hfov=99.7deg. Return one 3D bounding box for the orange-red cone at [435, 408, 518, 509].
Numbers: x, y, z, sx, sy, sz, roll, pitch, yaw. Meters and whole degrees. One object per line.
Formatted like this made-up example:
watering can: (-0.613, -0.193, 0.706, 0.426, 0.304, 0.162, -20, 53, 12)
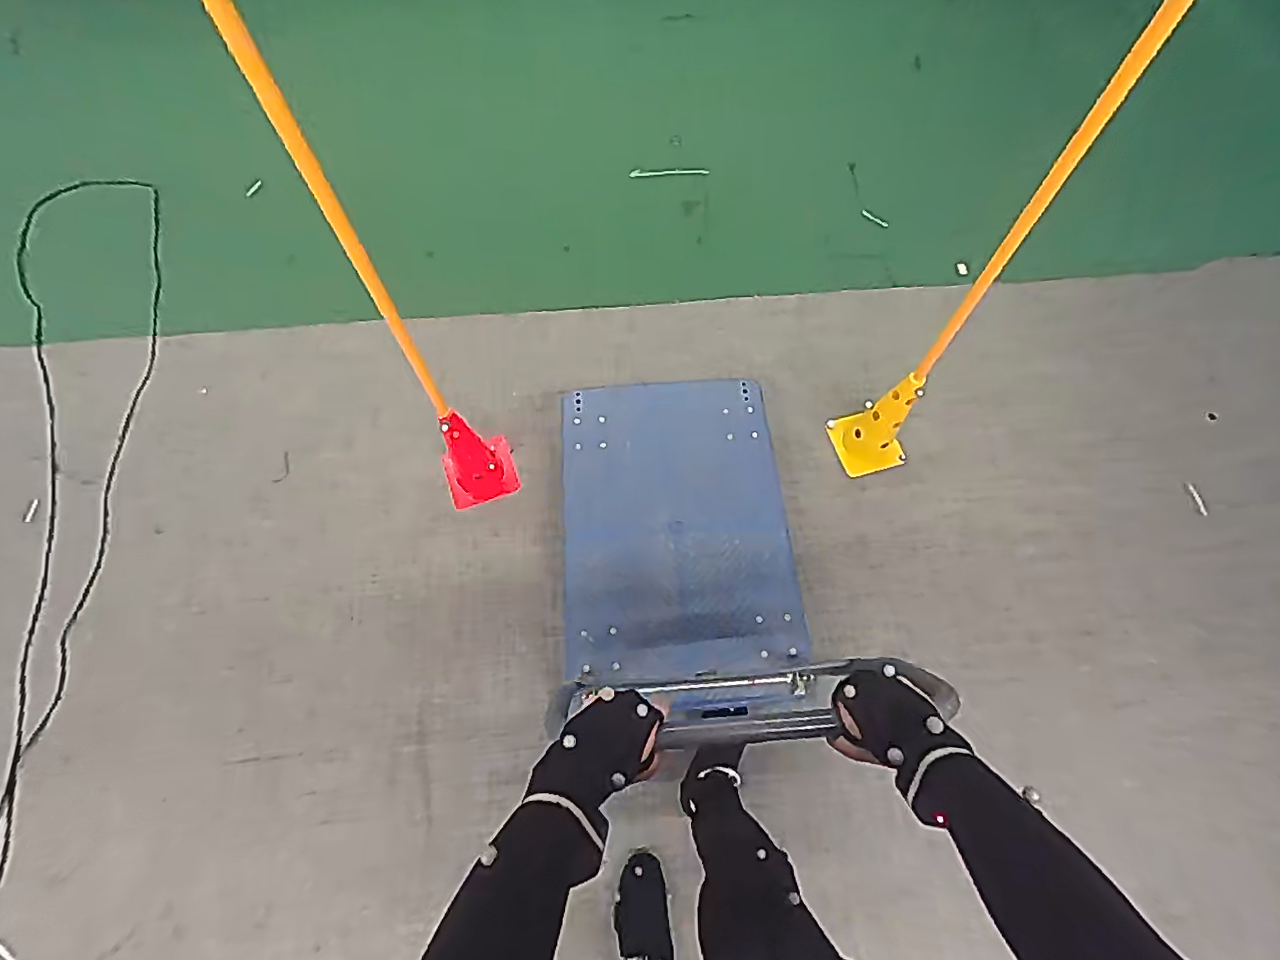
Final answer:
orange-red cone: (-0.479, -0.087, 1.469, 0.199, 0.360, 0.198, -18, 68, -7)
